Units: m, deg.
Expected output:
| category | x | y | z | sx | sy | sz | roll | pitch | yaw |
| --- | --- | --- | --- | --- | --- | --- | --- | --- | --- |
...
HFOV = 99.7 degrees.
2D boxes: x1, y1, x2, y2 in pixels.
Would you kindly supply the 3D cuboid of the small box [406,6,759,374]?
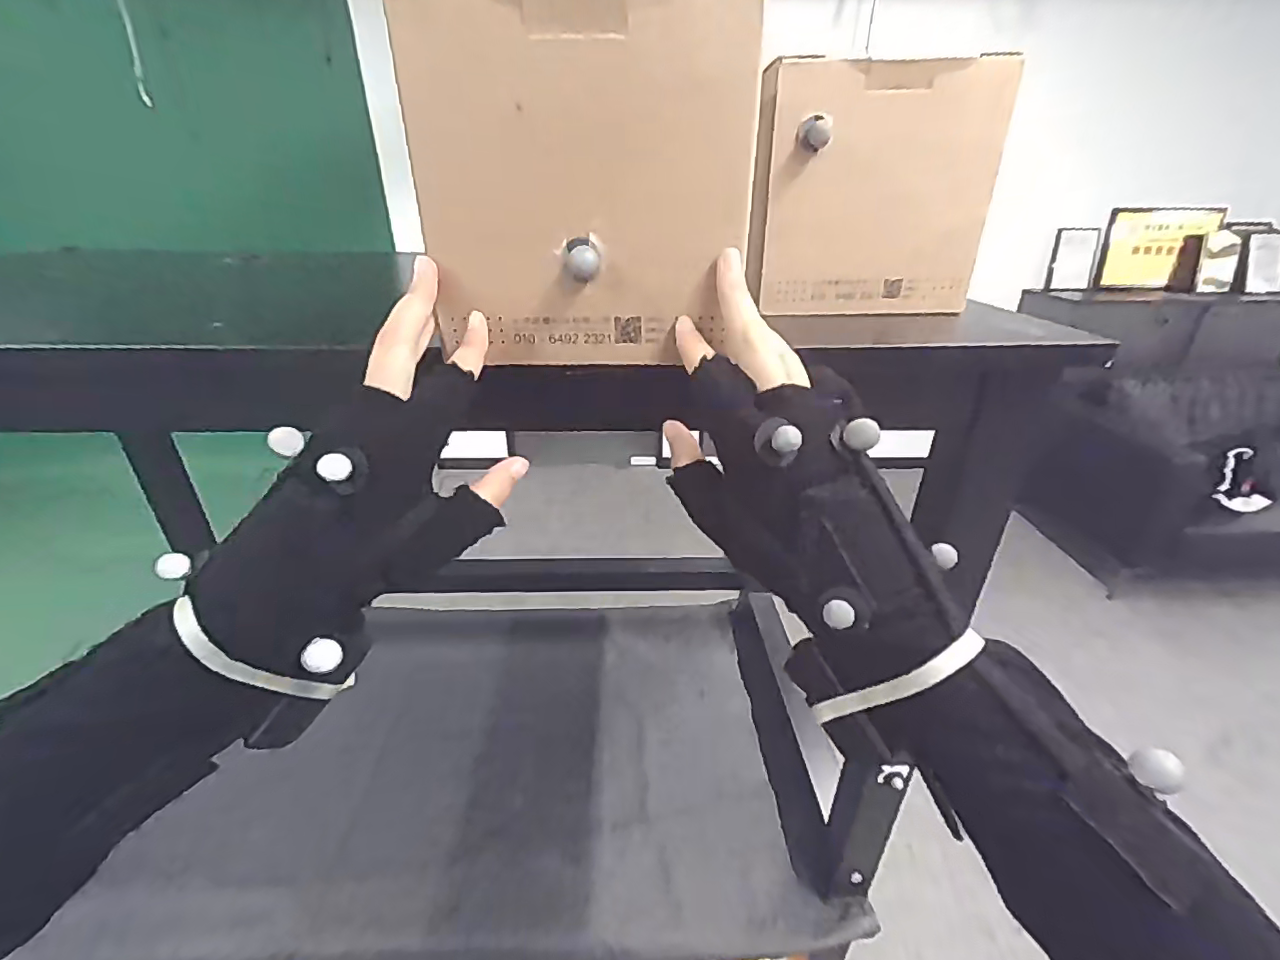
| category | x | y | z | sx | sy | sz | roll | pitch | yaw |
| --- | --- | --- | --- | --- | --- | --- | --- | --- | --- |
| small box | -0.026 | -0.176 | 0.354 | 0.168 | 0.176 | 0.179 | 0 | 28 | 0 |
